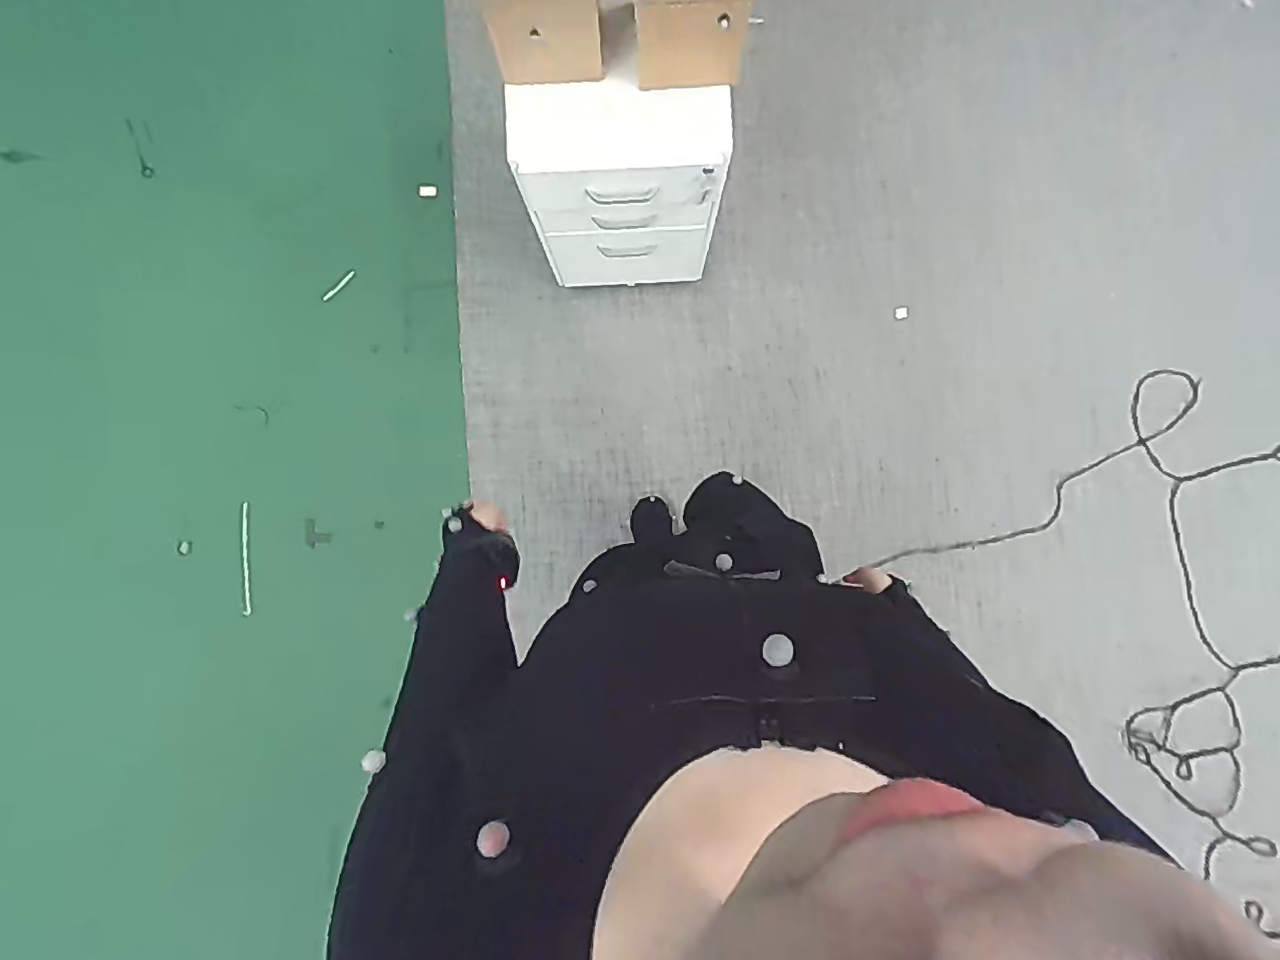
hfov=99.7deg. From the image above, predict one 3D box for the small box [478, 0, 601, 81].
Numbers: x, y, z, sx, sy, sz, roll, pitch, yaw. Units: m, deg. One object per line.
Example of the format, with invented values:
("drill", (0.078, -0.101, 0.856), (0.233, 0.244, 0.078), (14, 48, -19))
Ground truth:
("small box", (-0.158, -0.780, 0.867), (0.179, 0.176, 0.168), (-3, 88, -1))
